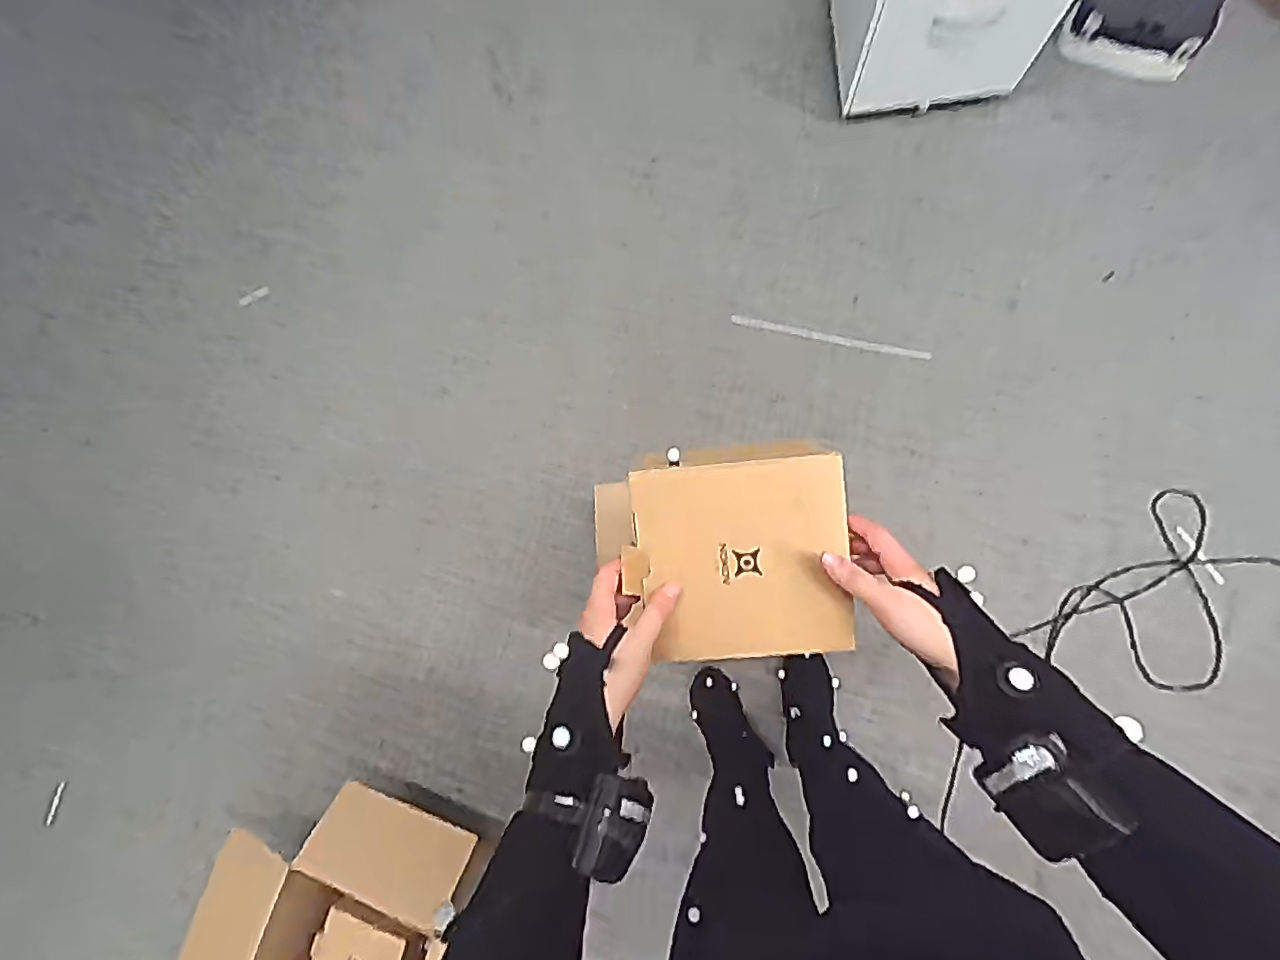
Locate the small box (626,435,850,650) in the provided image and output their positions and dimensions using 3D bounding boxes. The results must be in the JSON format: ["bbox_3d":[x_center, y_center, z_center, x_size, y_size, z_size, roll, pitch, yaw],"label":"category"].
[{"bbox_3d":[0.091,0.049,0.533,0.179,0.176,0.168,-7,97,8],"label":"small box"}]
